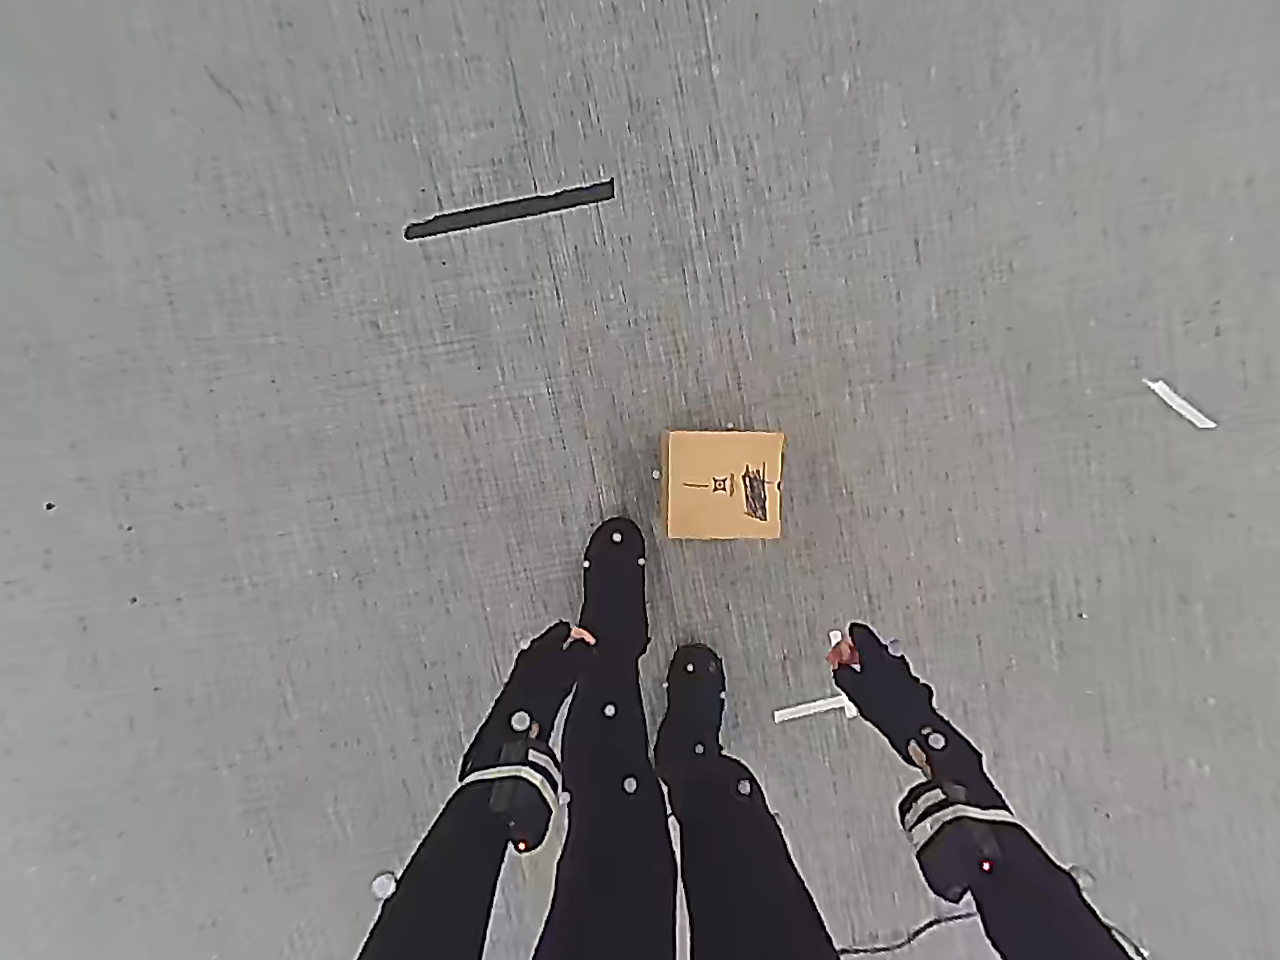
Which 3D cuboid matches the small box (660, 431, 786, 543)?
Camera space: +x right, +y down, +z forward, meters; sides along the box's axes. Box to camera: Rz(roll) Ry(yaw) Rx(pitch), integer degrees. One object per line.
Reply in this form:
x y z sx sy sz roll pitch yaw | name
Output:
0.127 0.005 0.889 0.179 0.176 0.168 1 95 -1 | small box
